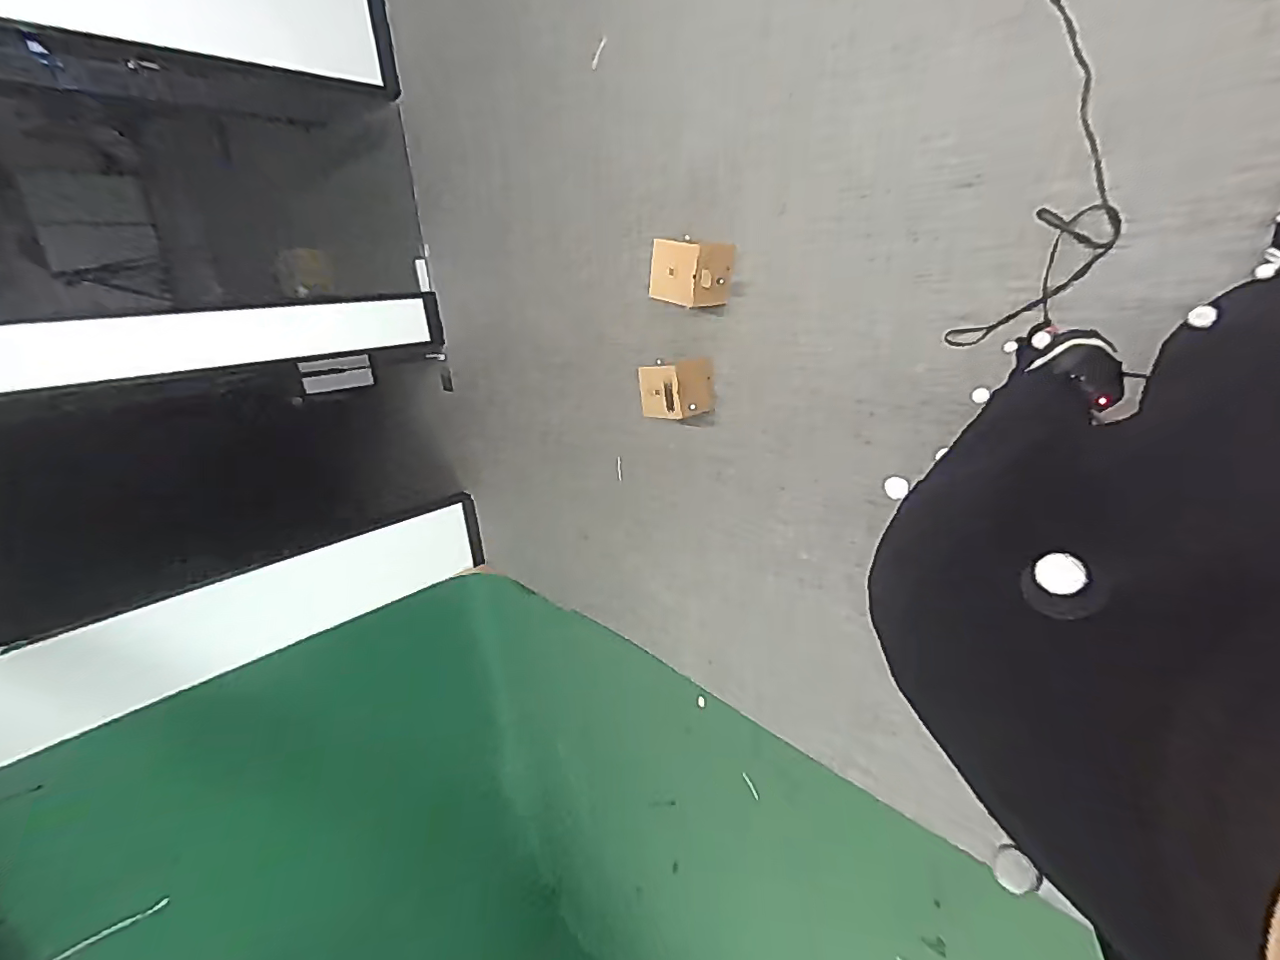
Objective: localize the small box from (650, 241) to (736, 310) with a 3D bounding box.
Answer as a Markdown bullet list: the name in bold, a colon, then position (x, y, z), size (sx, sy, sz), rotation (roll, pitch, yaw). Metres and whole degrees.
- **small box**: position (0.154, -0.604, 1.590), size (0.179, 0.176, 0.168), rotation (28, 125, 37)
